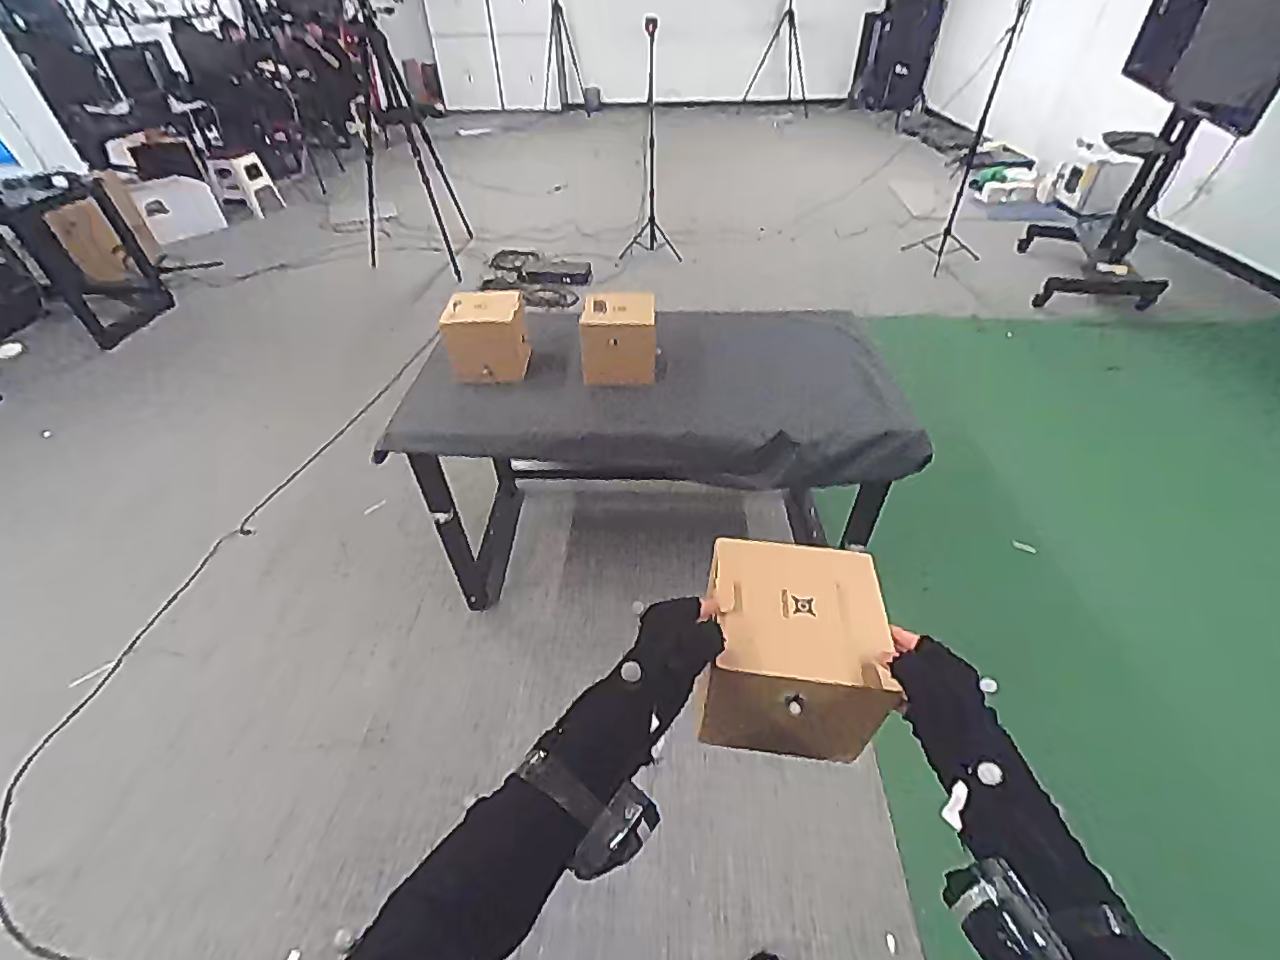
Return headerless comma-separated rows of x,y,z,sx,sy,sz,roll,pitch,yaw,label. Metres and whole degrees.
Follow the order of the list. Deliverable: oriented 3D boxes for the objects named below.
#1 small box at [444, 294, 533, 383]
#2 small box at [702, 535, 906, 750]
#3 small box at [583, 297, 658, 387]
-0.376,-0.358,1.382,0.179,0.176,0.168,-1,42,-1,small box
0.167,0.186,0.615,0.179,0.176,0.168,7,43,3,small box
-0.043,-0.347,1.362,0.179,0.176,0.168,1,42,1,small box
